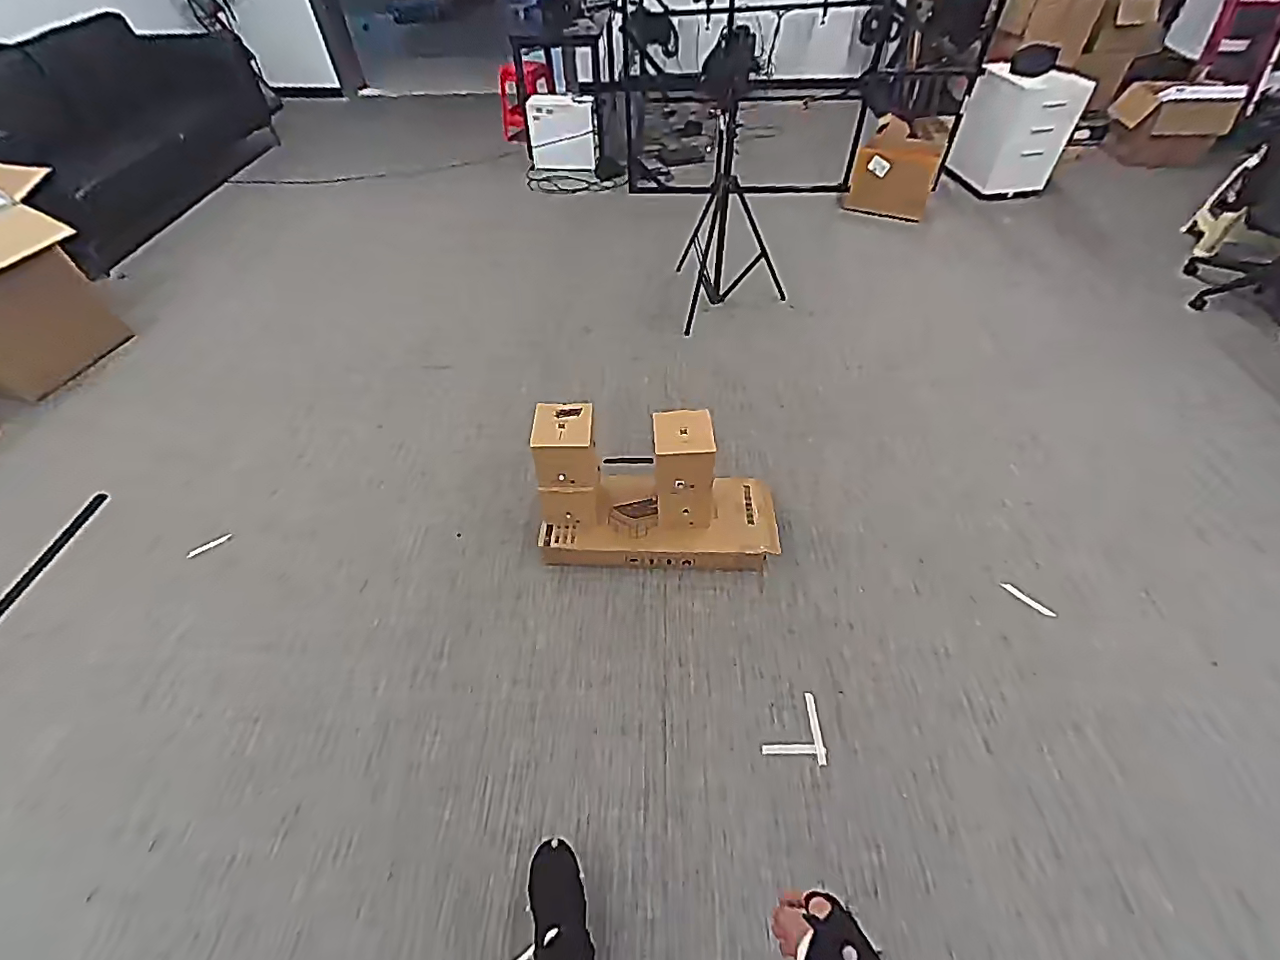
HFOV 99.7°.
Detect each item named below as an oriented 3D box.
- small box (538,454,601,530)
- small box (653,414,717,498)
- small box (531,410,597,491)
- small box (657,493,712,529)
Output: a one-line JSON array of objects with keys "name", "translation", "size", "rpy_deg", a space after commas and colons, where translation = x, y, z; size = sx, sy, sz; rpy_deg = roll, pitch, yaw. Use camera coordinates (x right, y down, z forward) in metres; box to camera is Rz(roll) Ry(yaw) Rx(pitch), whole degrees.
[{"name": "small box", "translation": [-0.214, 0.034, 1.692], "size": [0.168, 0.176, 0.179], "rpy_deg": [1, 48, 2]}, {"name": "small box", "translation": [0.123, -0.068, 1.563], "size": [0.168, 0.176, 0.179], "rpy_deg": [-4, 49, 0]}, {"name": "small box", "translation": [-0.216, -0.087, 1.580], "size": [0.168, 0.176, 0.179], "rpy_deg": [0, 48, 0]}, {"name": "small box", "translation": [0.136, 0.041, 1.685], "size": [0.168, 0.176, 0.179], "rpy_deg": [-1, 49, 2]}]
